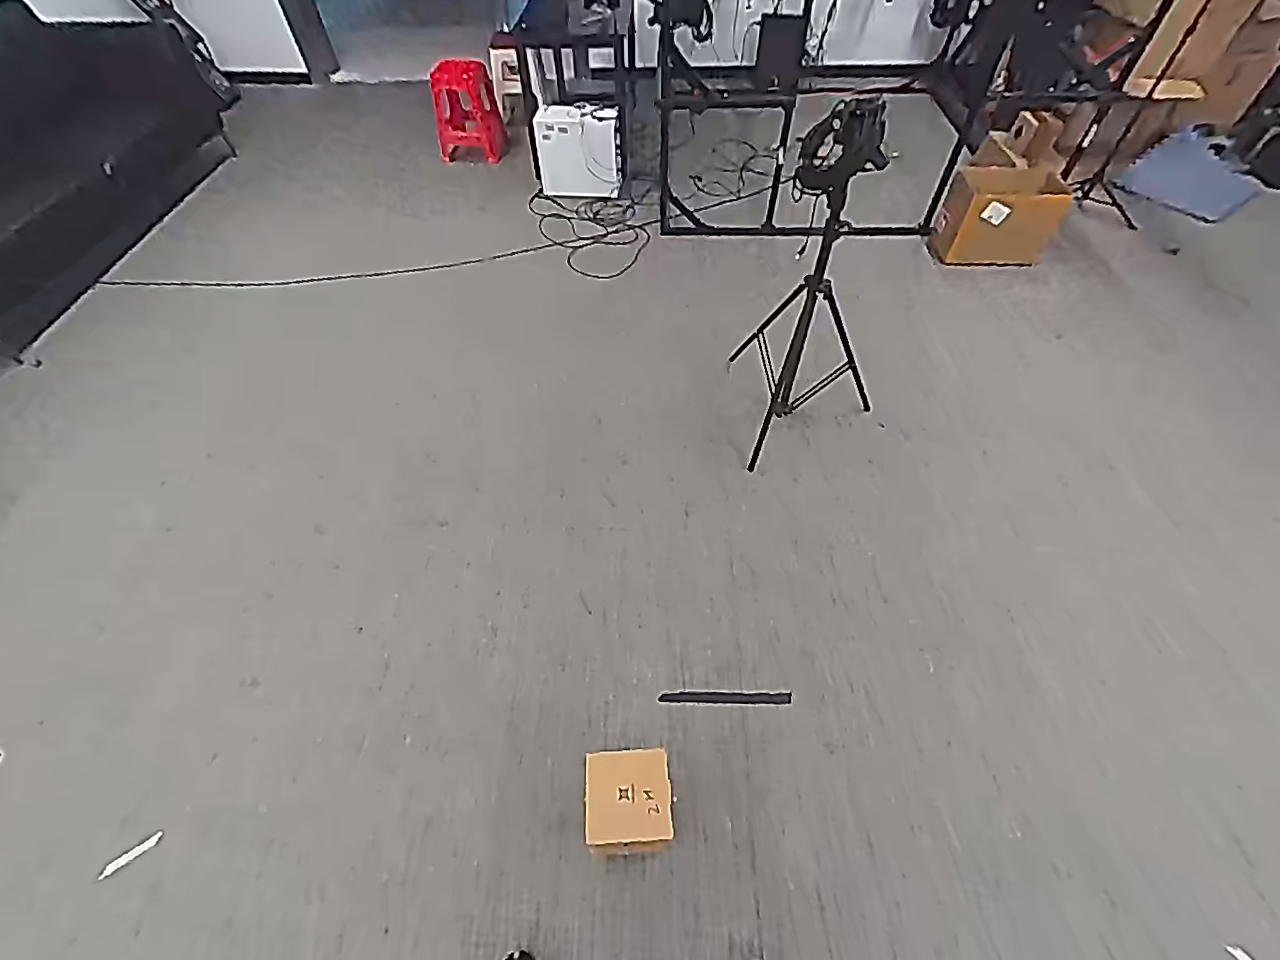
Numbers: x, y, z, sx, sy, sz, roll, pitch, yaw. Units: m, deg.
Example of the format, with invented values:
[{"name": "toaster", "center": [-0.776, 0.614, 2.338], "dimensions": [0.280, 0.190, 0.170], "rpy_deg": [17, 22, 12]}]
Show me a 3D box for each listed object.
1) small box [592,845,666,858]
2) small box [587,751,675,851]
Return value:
[{"name": "small box", "center": [-0.024, 0.794, 1.292], "dimensions": [0.168, 0.176, 0.179], "rpy_deg": [-2, 54, 1]}, {"name": "small box", "center": [-0.016, 0.693, 1.162], "dimensions": [0.179, 0.176, 0.168], "rpy_deg": [-3, 53, 0]}]
